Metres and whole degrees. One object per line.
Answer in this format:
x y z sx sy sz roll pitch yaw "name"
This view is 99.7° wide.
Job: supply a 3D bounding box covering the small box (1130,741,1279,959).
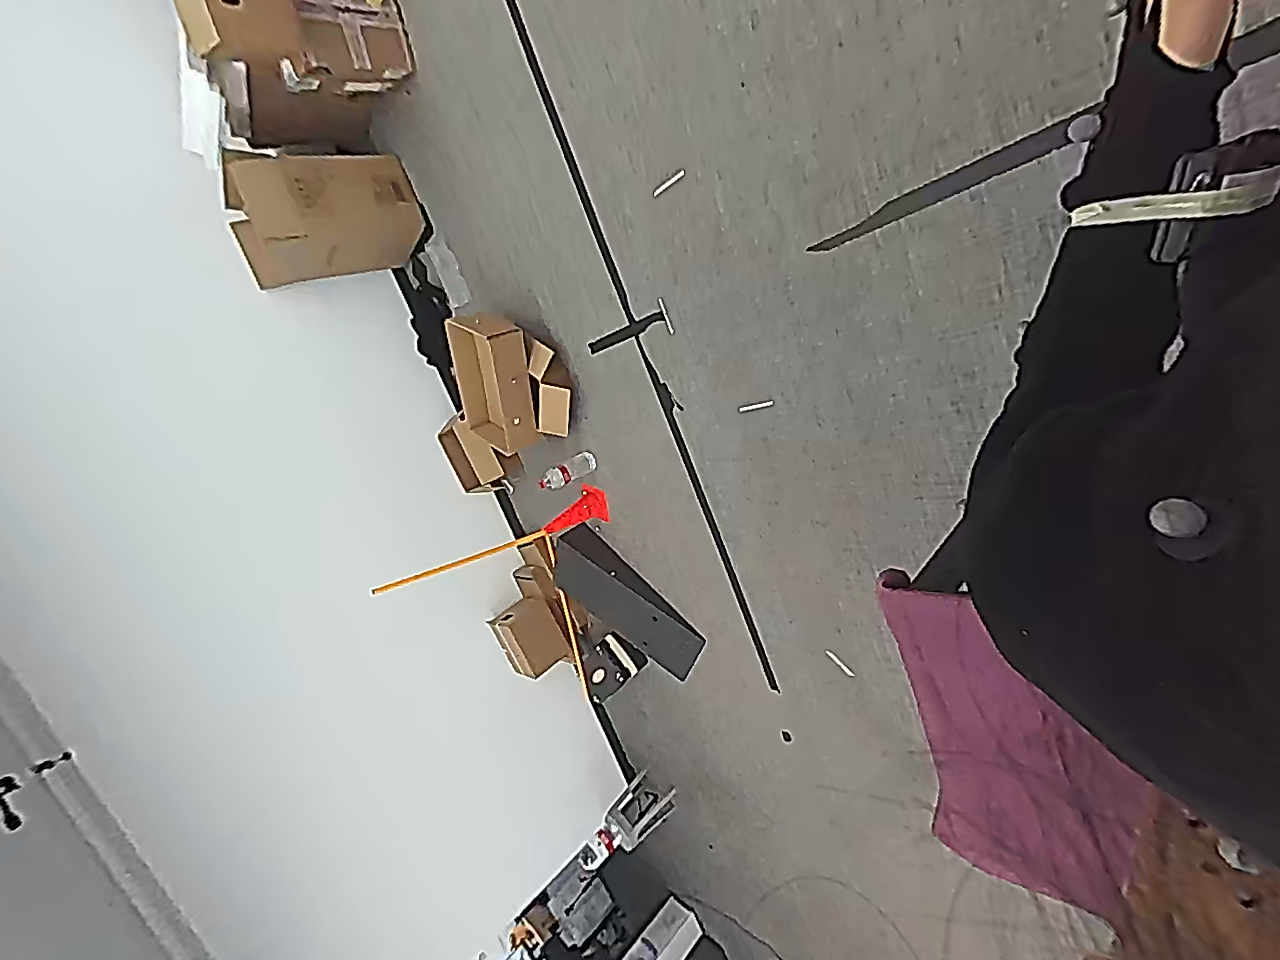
0.714 0.440 0.628 0.179 0.176 0.168 -9 108 53 "small box"
